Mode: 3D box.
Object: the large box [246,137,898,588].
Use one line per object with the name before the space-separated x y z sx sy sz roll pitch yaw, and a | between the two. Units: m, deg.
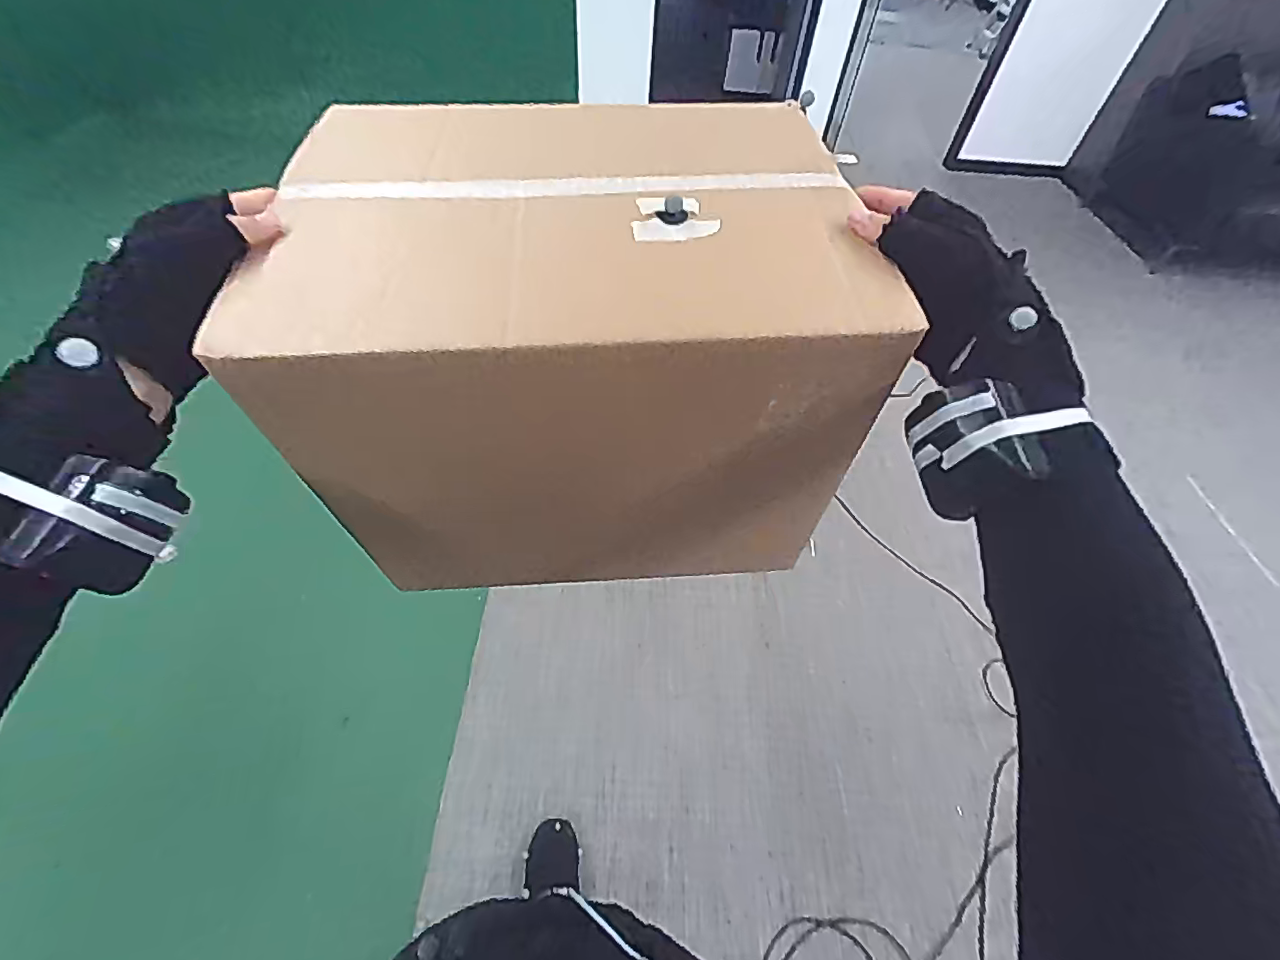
large box | -0.050 -0.108 0.532 0.408 0.320 0.320 -2 54 -4
